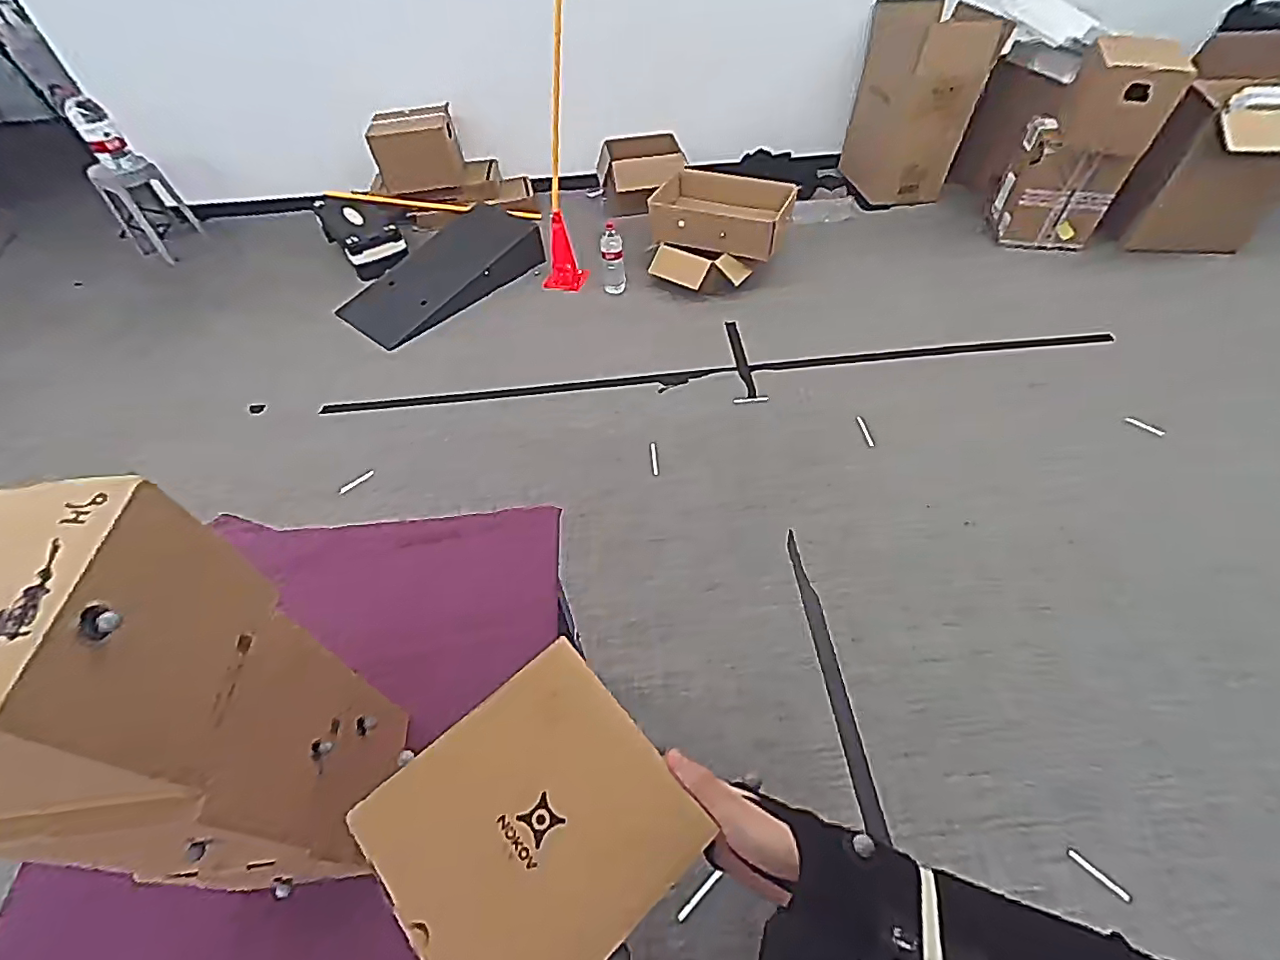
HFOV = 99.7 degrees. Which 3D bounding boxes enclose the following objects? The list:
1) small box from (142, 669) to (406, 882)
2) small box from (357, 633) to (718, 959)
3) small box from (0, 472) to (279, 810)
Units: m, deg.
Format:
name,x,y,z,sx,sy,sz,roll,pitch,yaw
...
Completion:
name,x,y,z,sx,sy,sz,roll,pitch,yaw
small box,-0.388,0.340,0.619,0.168,0.176,0.179,-7,51,-1
small box,-0.069,0.251,0.416,0.179,0.176,0.168,-37,70,-20
small box,-0.407,0.118,0.378,0.179,0.176,0.168,-7,51,-1
